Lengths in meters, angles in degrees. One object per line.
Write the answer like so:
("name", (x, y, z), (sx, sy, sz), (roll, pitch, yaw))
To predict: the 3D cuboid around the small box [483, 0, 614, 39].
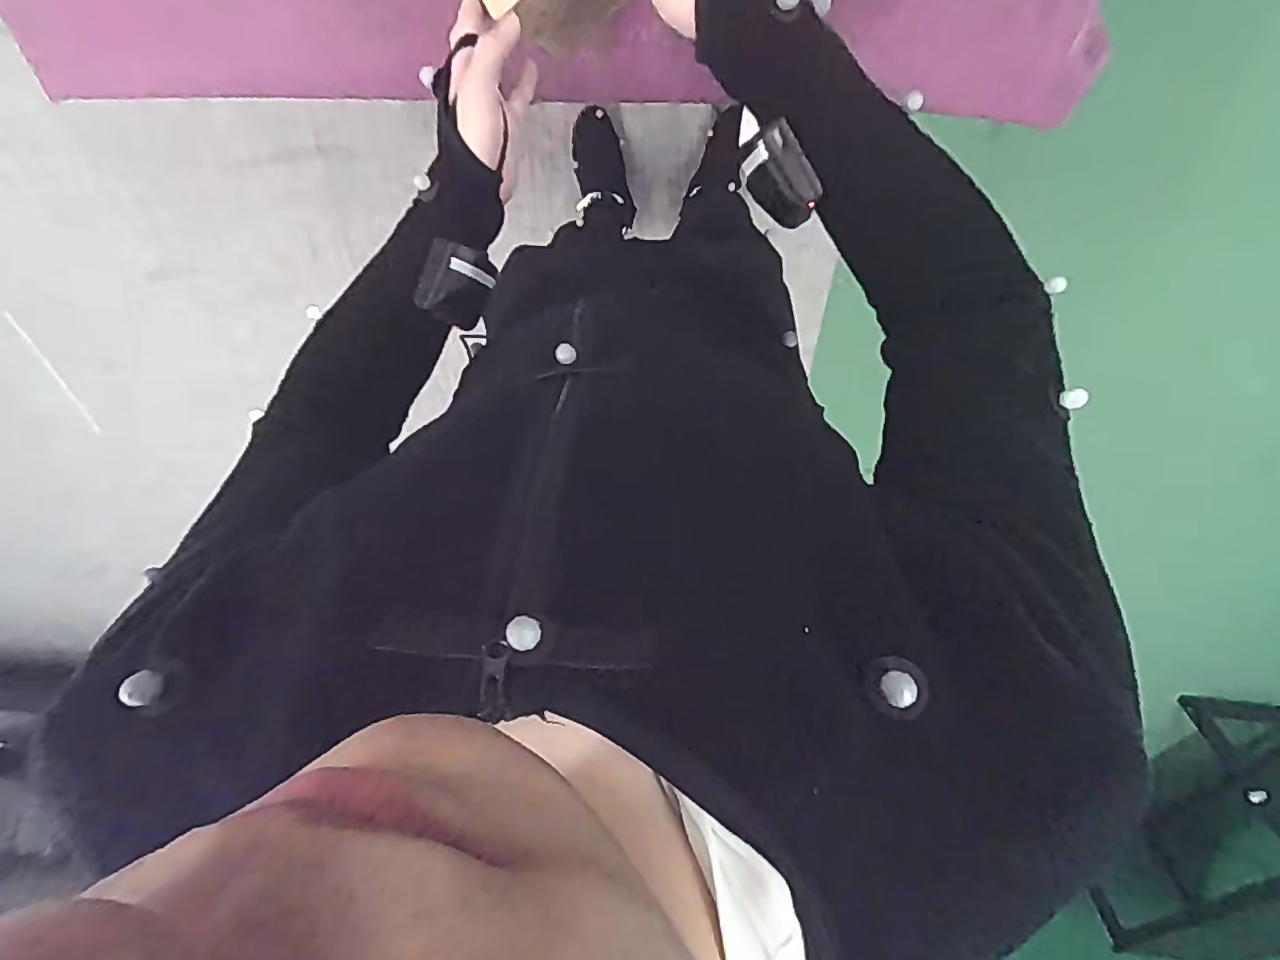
("small box", (-0.075, -0.500, 0.426), (0.168, 0.176, 0.179), (-22, 114, 25))
